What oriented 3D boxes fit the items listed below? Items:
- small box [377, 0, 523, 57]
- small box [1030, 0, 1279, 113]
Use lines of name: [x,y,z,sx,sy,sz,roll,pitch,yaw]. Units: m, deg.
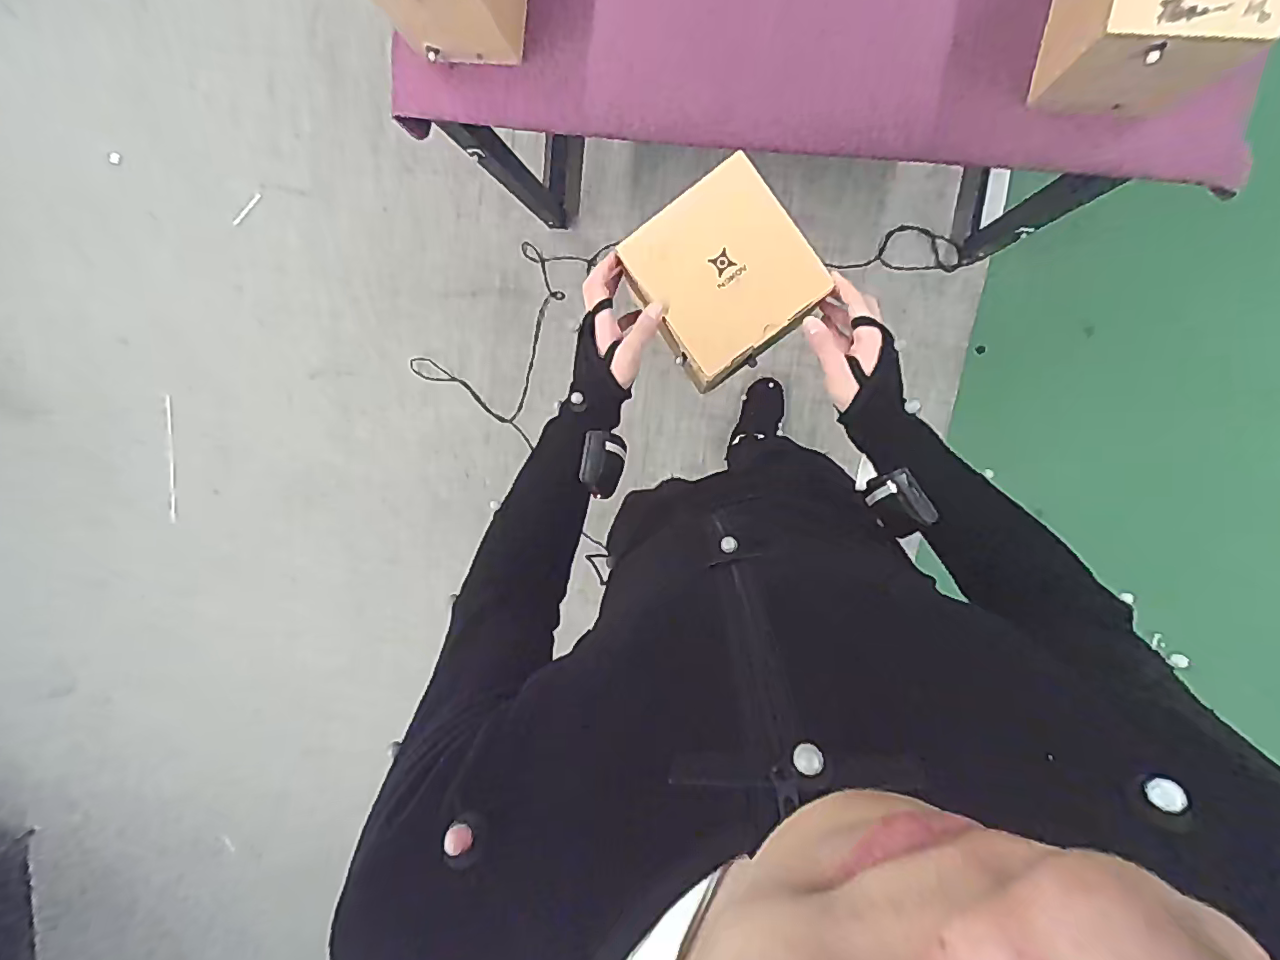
small box: [-0.266,-0.733,0.755,0.168,0.176,0.179,9,99,8]
small box: [0.593,-0.563,0.622,0.168,0.176,0.179,11,102,10]
